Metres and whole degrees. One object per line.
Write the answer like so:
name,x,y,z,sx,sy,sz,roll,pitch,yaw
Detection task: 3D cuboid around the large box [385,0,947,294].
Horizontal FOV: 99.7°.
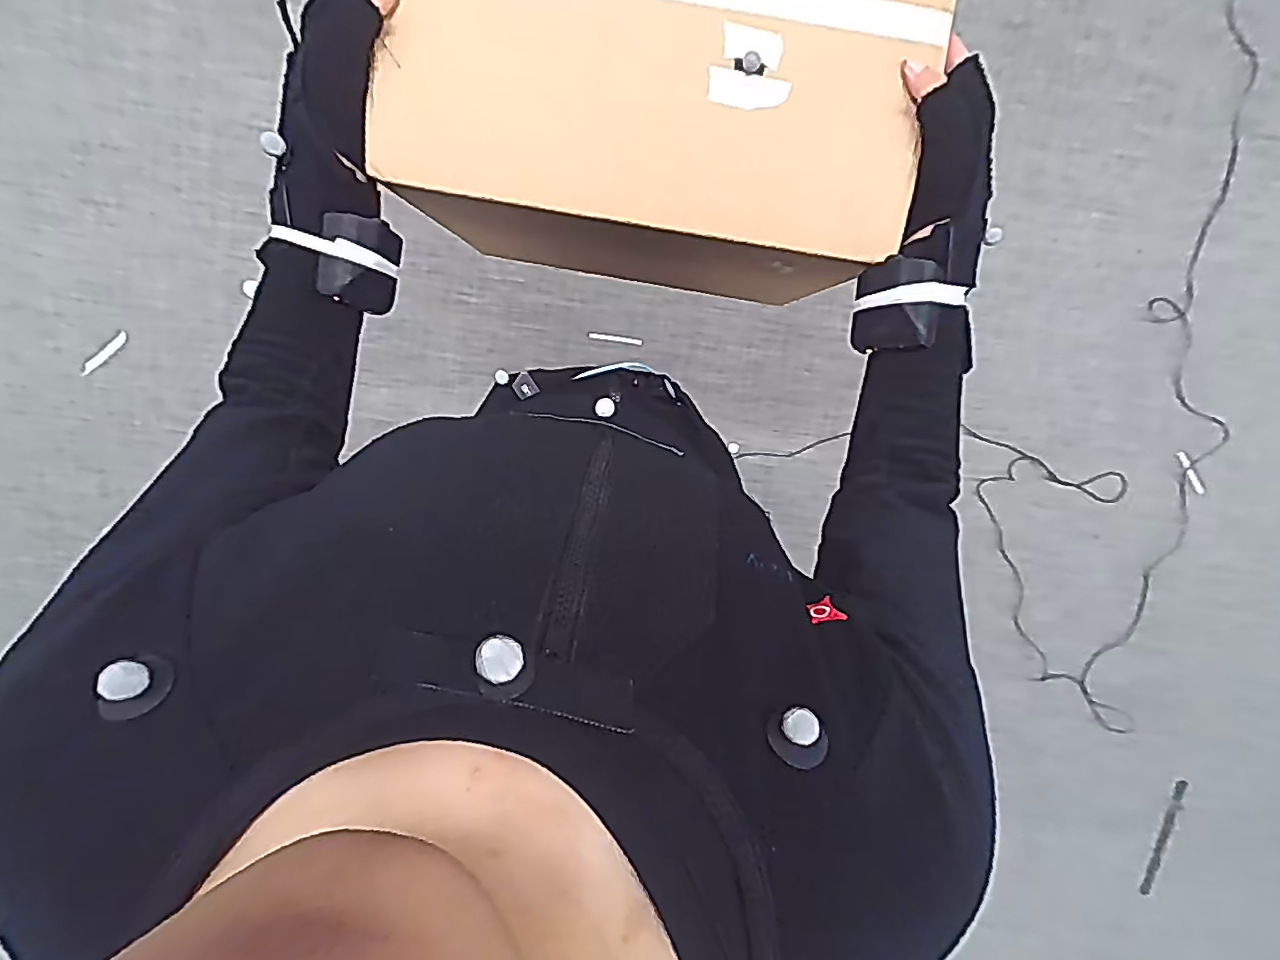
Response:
large box,0.018,-0.385,0.531,0.408,0.320,0.320,8,103,-3
